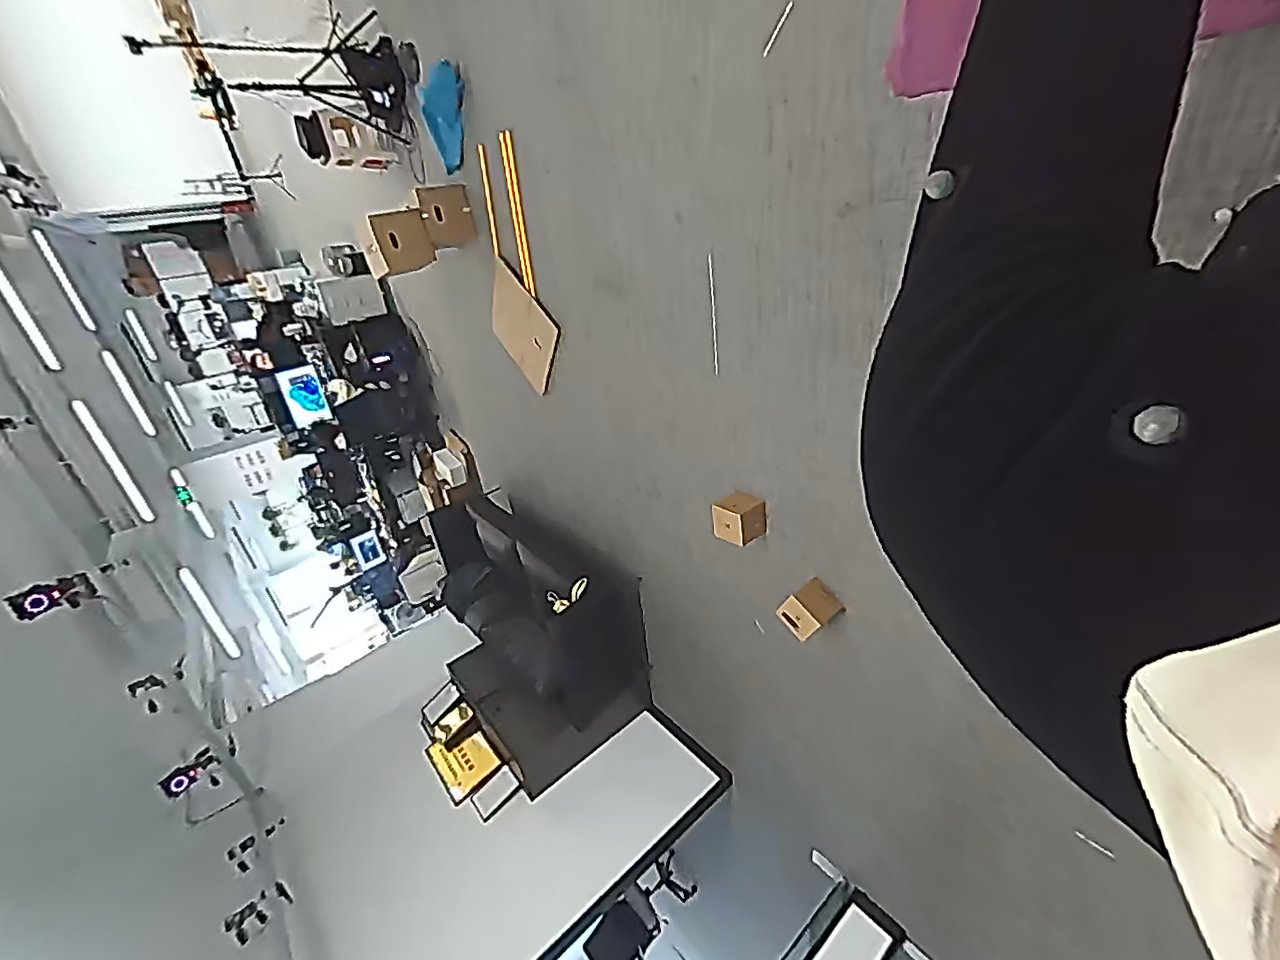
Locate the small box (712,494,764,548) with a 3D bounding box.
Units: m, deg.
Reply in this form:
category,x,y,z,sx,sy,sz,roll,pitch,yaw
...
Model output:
category,x,y,z,sx,sy,sz,roll,pitch,yaw
small box,0.449,0.179,2.447,0.179,0.176,0.168,21,128,48
